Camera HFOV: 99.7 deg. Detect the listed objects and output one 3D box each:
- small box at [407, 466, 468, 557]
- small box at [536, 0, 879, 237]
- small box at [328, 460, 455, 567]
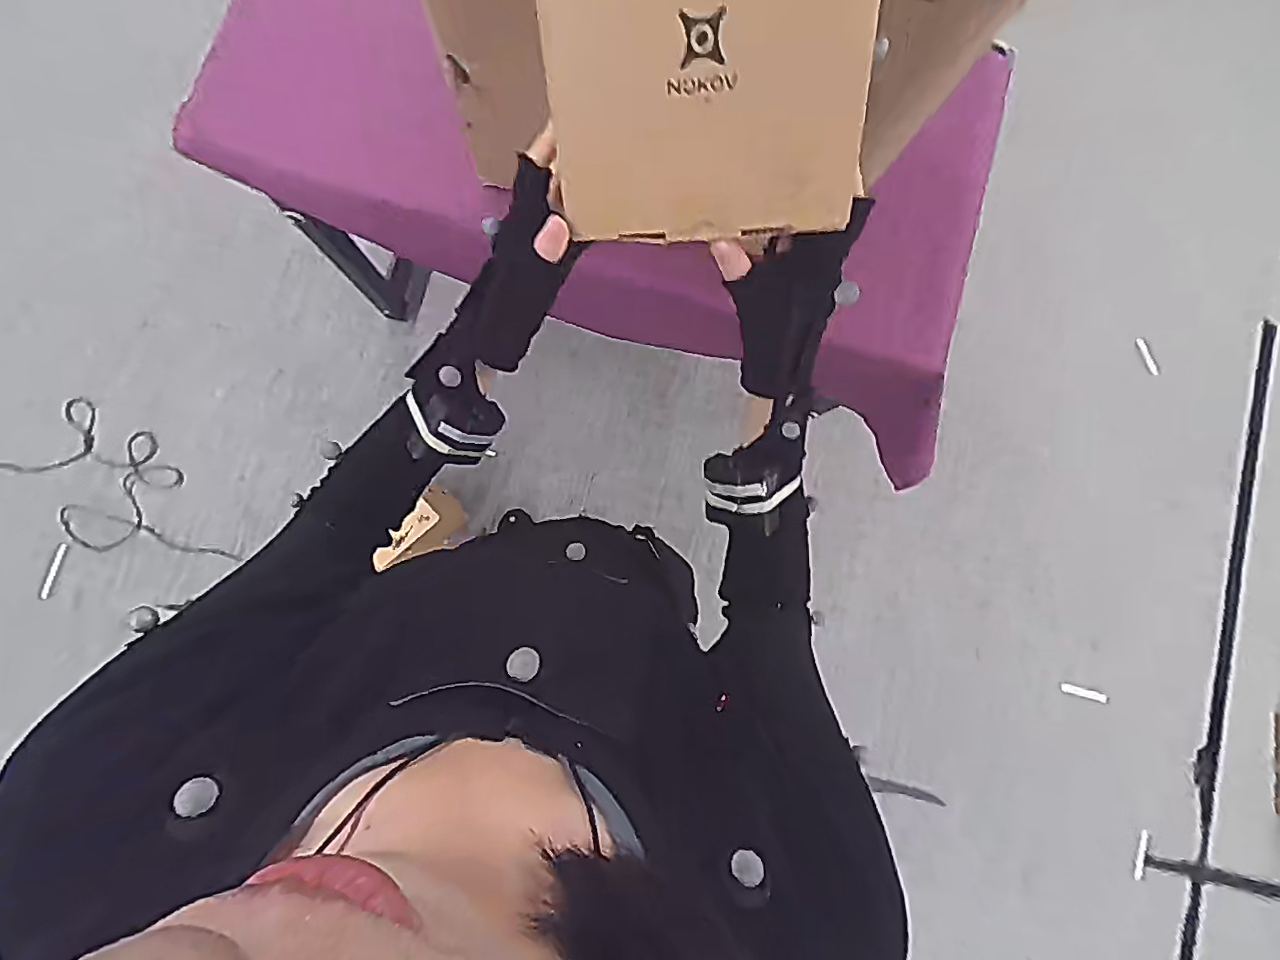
[{"bbox_3d":[-0.573,0.089,1.394,0.168,0.176,0.179,-43,91,-7],"label":"small box"},{"bbox_3d":[0.041,-0.264,0.329,0.168,0.176,0.179,0,125,8],"label":"small box"},{"bbox_3d":[-0.554,0.080,1.231,0.168,0.176,0.179,-41,90,-7],"label":"small box"}]
